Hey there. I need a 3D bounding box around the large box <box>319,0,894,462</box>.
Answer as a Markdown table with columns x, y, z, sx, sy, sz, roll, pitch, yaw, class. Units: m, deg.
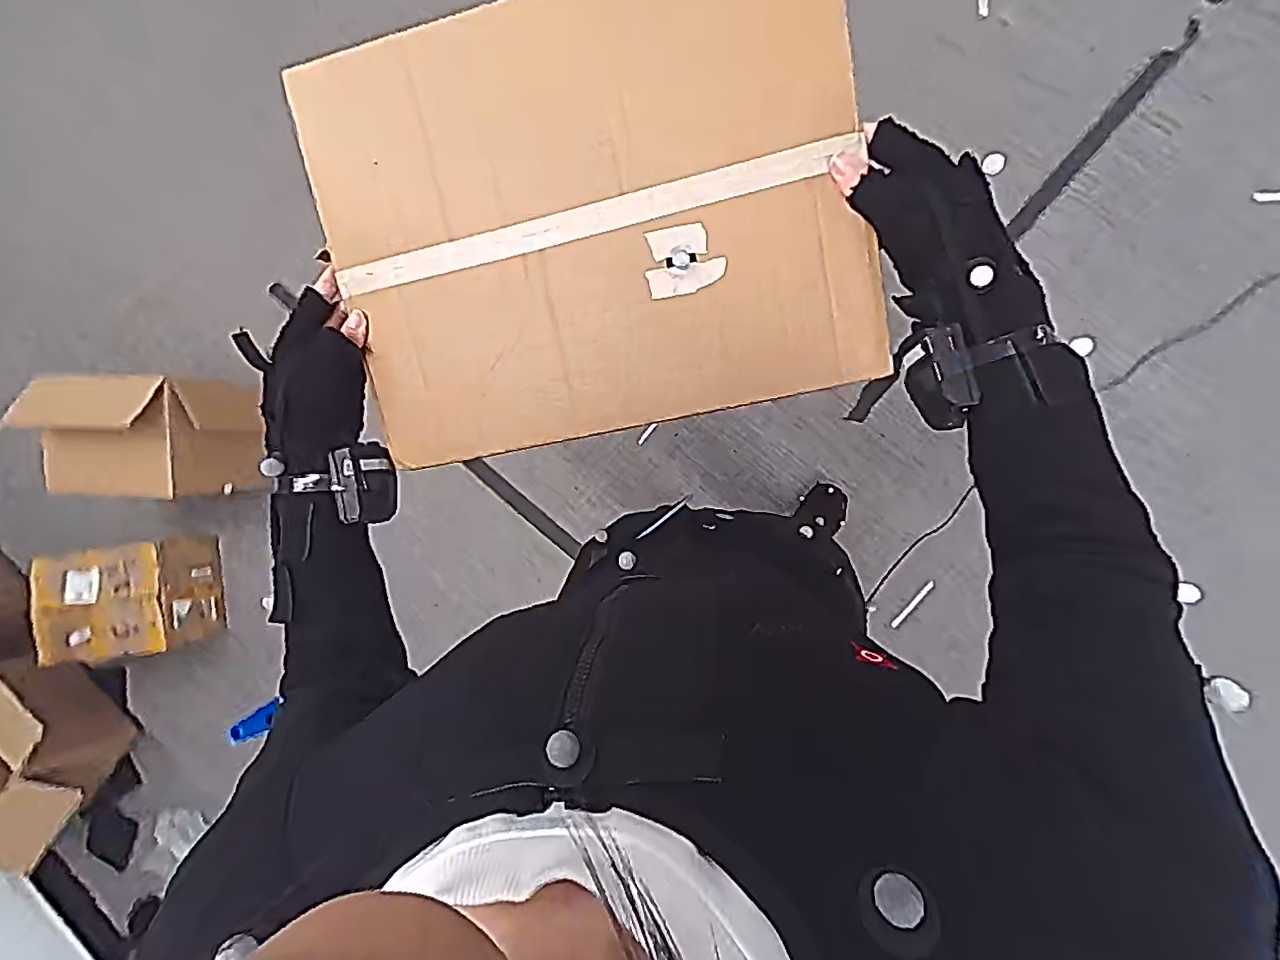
| x | y | z | sx | sy | sz | roll | pitch | yaw | class |
| --- | --- | --- | --- | --- | --- | --- | --- | --- | --- |
| -0.015 | -0.225 | 0.560 | 0.408 | 0.320 | 0.320 | -10 | 100 | 8 | large box |
